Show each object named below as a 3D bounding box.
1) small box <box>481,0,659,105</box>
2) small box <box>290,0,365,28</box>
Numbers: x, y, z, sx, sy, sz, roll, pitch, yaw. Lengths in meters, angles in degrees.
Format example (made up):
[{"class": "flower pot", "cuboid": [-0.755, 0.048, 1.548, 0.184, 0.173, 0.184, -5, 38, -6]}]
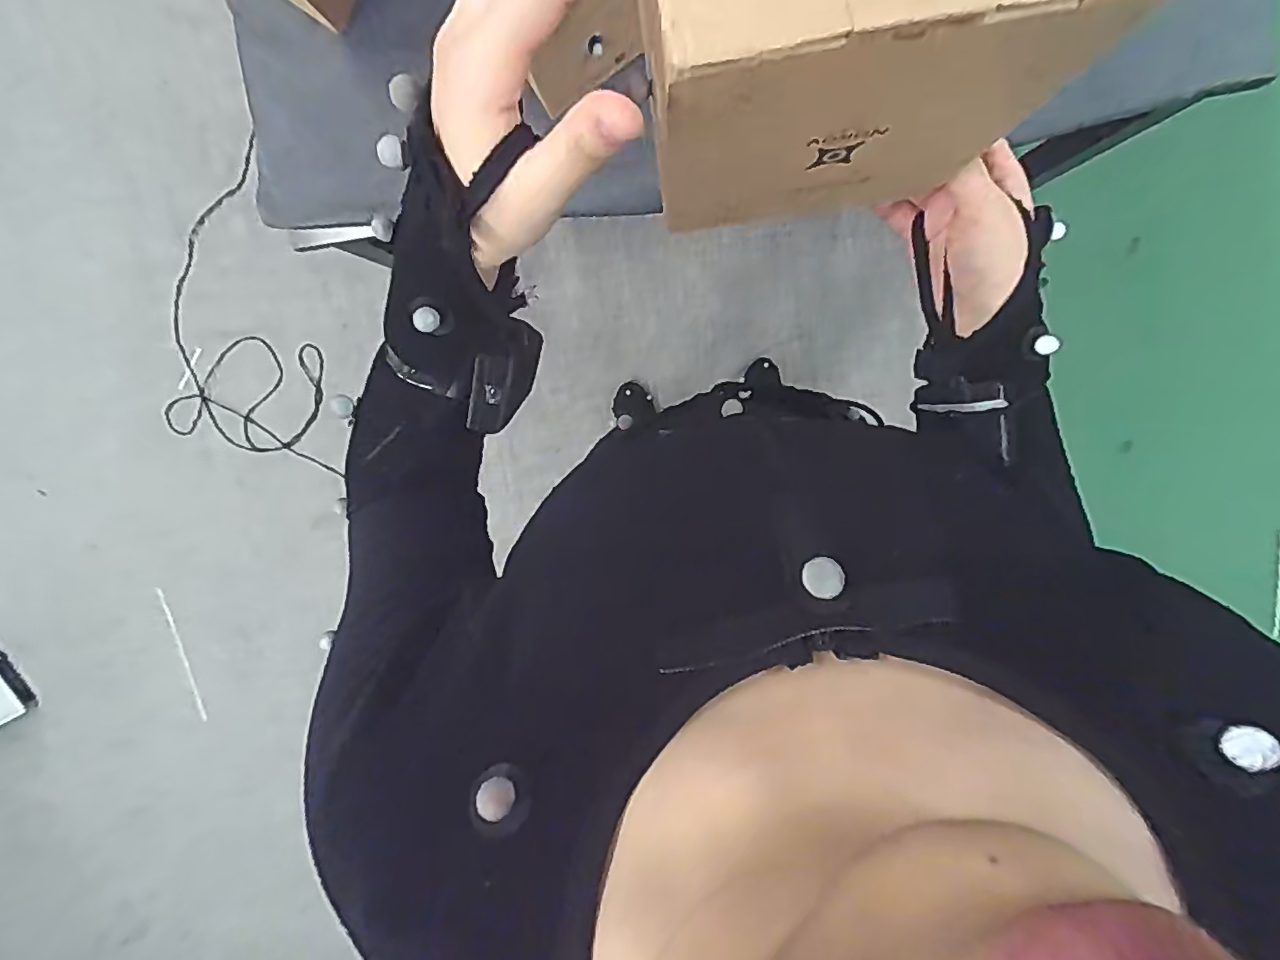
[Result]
[{"class": "small box", "cuboid": [-0.090, -0.546, 0.575, 0.168, 0.176, 0.179, -32, 96, 9]}, {"class": "small box", "cuboid": [-0.401, -0.650, 0.580, 0.179, 0.176, 0.168, 33, 101, -3]}]
